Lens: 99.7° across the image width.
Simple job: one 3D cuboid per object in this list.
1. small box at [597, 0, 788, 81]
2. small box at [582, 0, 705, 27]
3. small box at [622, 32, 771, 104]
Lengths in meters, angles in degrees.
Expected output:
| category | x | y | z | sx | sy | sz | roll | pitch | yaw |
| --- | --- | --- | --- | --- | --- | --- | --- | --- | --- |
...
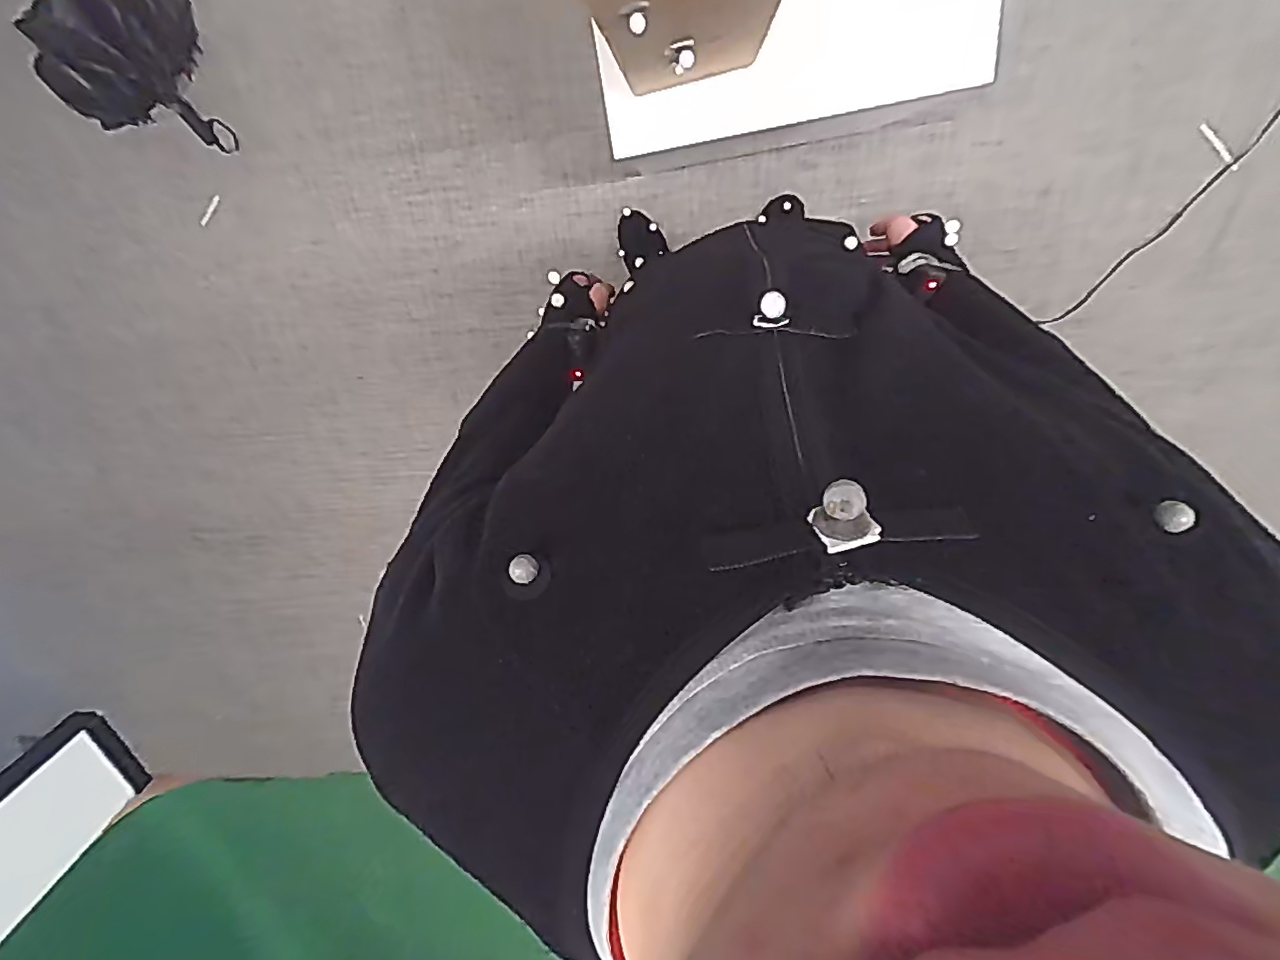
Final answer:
| category | x | y | z | sx | sy | sz | roll | pitch | yaw |
| --- | --- | --- | --- | --- | --- | --- | --- | --- | --- |
| small box | 0.035 | -0.496 | 0.483 | 0.168 | 0.176 | 0.179 | -9 | 116 | 11 |
| small box | 0.018 | -0.424 | 0.336 | 0.168 | 0.176 | 0.179 | -10 | 113 | 11 |
| small box | 0.053 | -0.570 | 0.628 | 0.168 | 0.176 | 0.179 | -8 | 116 | 10 |
